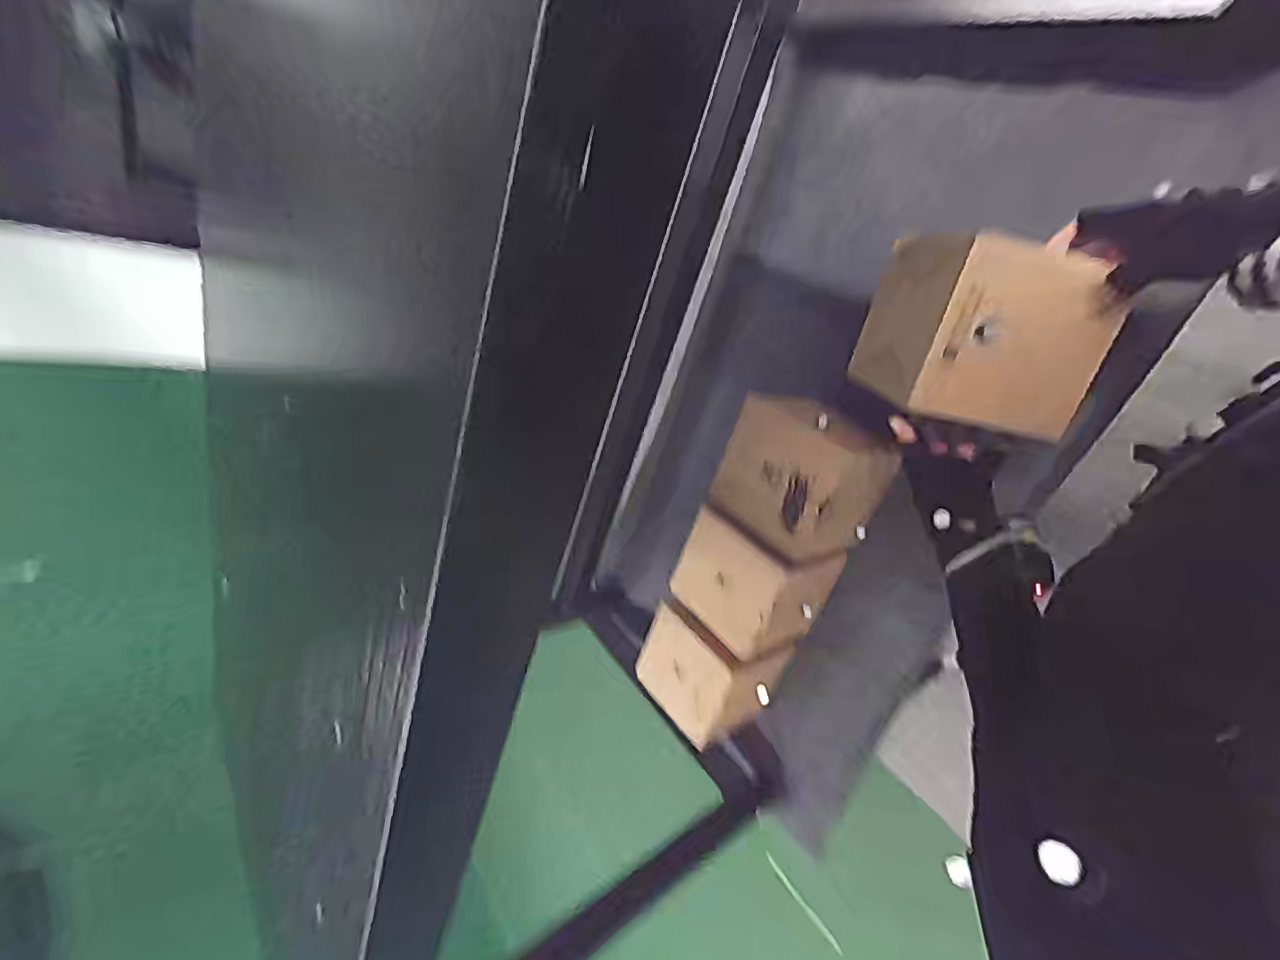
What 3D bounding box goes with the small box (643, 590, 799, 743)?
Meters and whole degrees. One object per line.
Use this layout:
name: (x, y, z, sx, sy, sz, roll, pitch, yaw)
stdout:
small box: (0.139, 0.311, 0.945, 0.179, 0.176, 0.168, 39, 121, 39)
